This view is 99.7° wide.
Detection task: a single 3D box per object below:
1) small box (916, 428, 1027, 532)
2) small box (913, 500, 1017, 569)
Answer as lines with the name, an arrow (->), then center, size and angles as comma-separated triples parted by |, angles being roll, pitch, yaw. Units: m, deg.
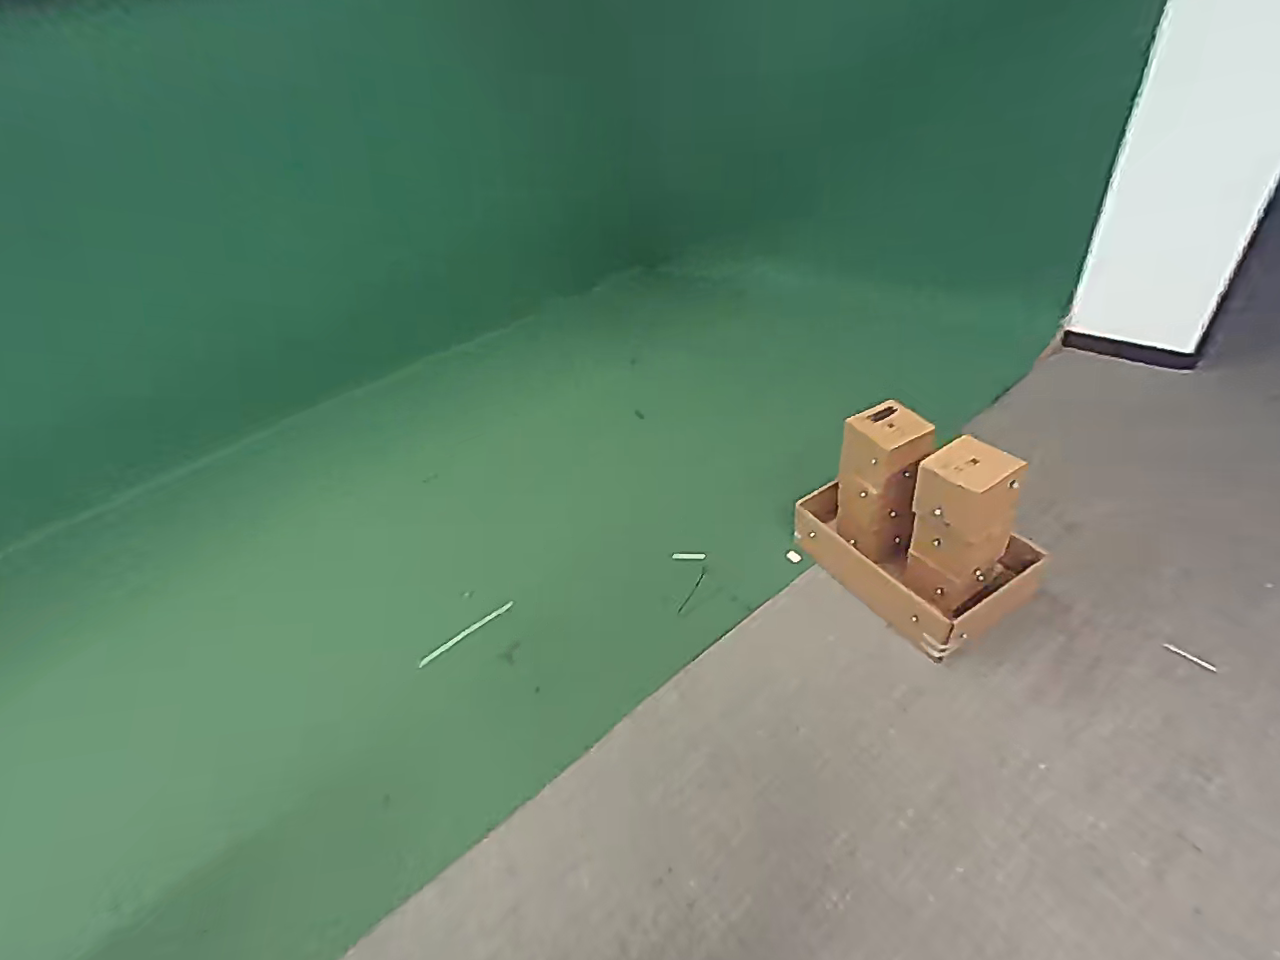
small box -> 0.839, 0.000, 1.388 | 0.179, 0.176, 0.168 | -29, 40, -15
small box -> 0.887, 0.120, 1.491 | 0.168, 0.176, 0.179 | -29, 40, -15
